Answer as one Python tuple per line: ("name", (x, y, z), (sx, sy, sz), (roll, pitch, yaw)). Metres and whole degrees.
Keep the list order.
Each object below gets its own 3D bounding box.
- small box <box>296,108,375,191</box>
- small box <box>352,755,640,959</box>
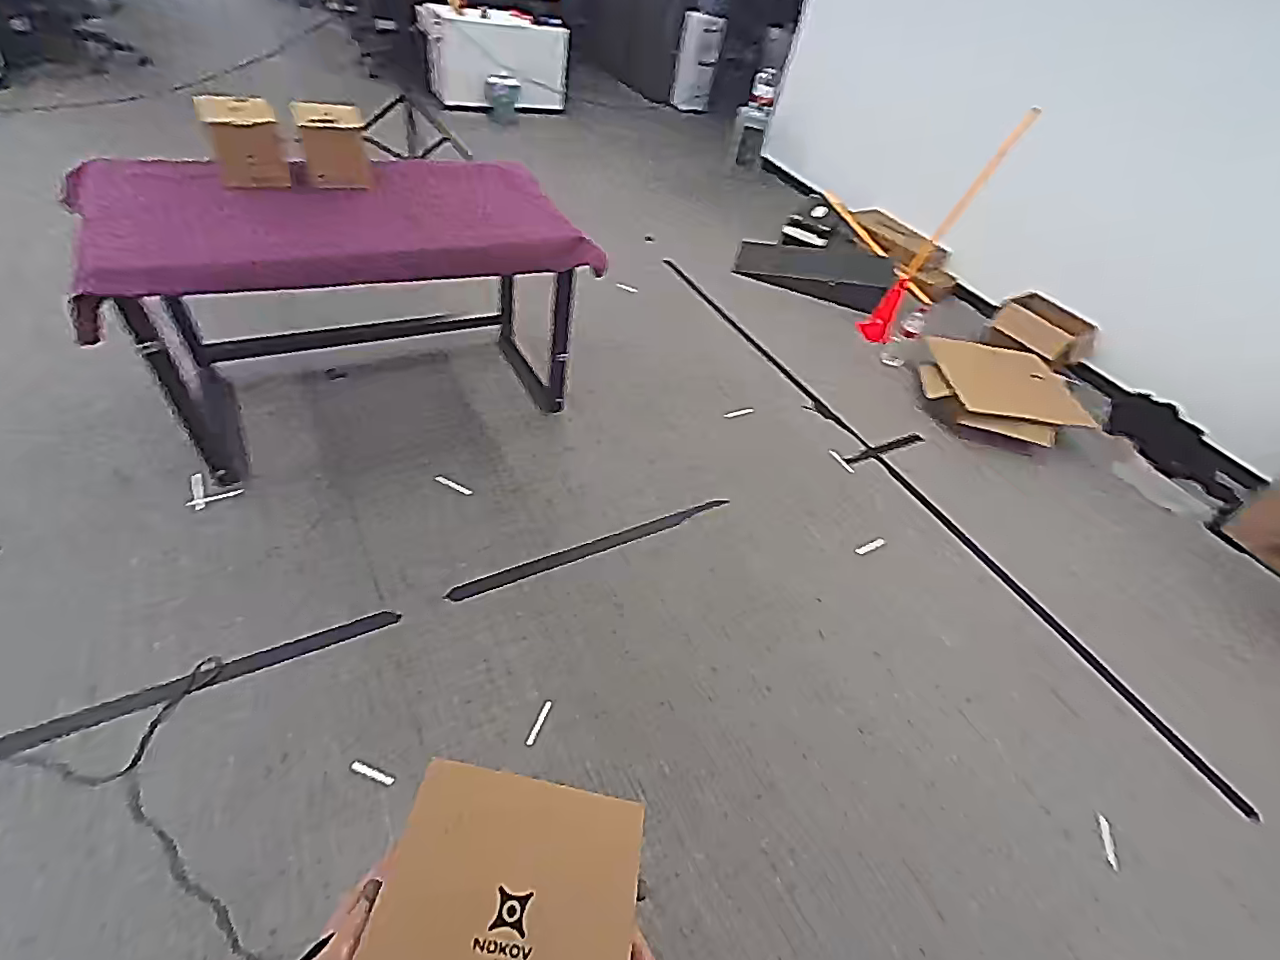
("small box", (-0.908, -0.985, 1.619), (0.168, 0.176, 0.179), (-13, 53, -25))
("small box", (-0.107, 0.337, 0.394), (0.168, 0.176, 0.179), (14, 41, -5))
